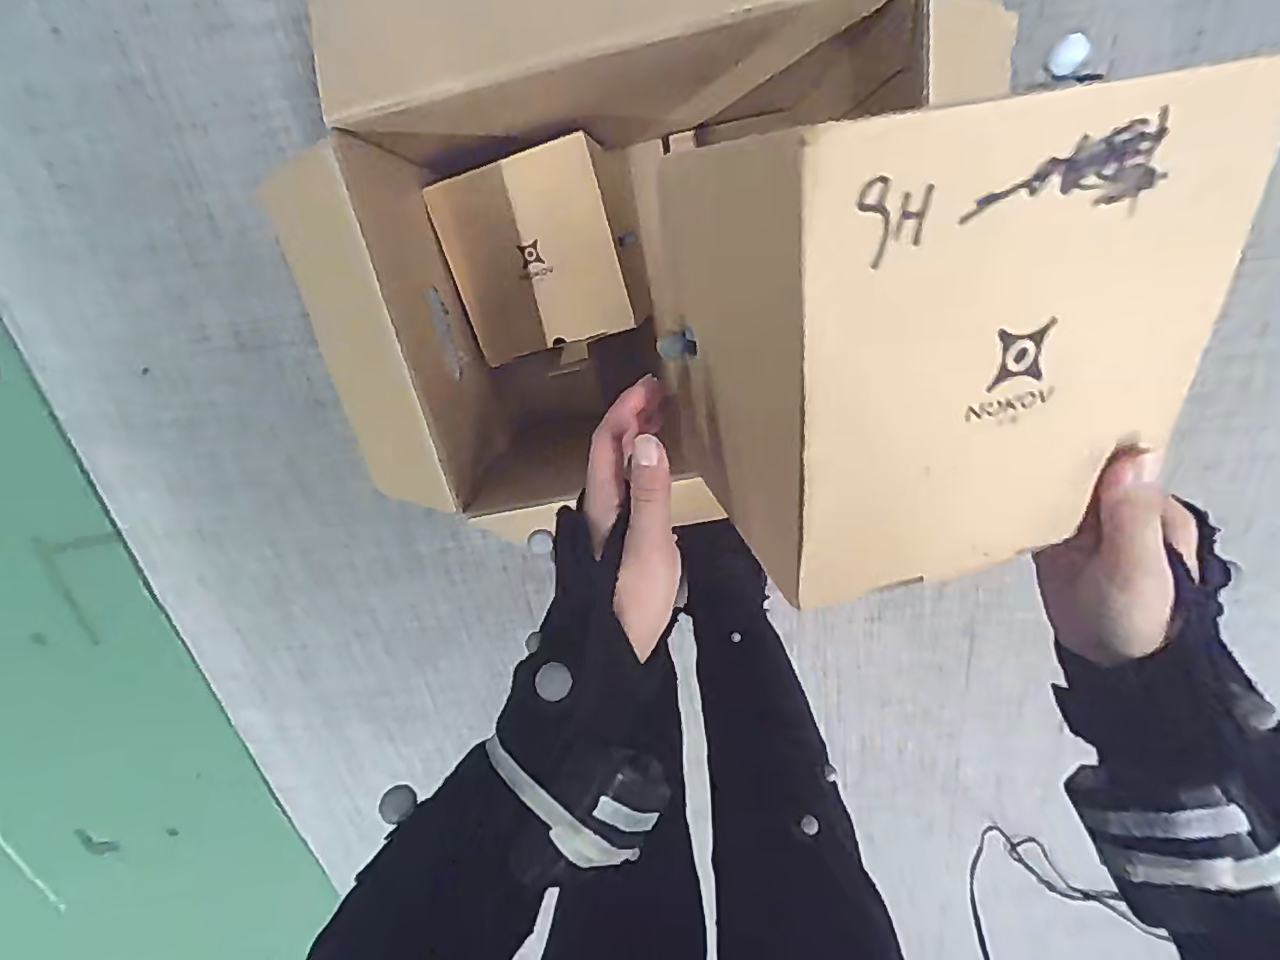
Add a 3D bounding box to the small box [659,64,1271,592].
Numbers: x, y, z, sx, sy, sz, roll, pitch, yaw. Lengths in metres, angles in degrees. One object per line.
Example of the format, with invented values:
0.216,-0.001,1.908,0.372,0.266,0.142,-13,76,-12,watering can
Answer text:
0.113,-0.078,0.271,0.168,0.176,0.179,-13,120,-7,small box
